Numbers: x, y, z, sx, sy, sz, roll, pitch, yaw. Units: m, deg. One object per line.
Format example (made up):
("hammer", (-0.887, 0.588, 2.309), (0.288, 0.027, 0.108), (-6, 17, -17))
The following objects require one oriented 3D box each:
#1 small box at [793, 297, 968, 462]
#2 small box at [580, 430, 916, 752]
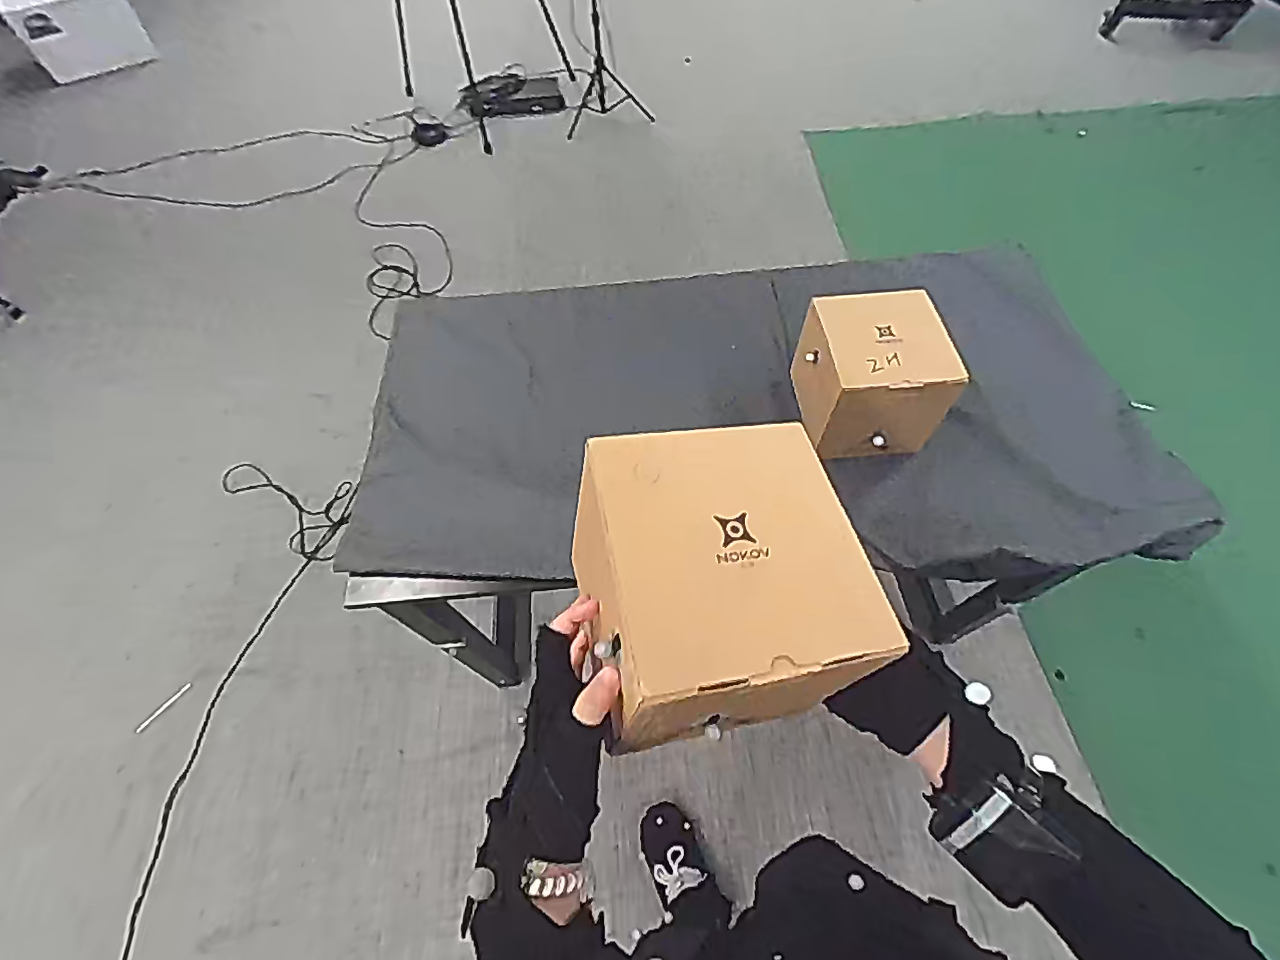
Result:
("small box", (0.339, -0.146, 0.806), (0.168, 0.176, 0.179), (-4, 59, 0))
("small box", (0.053, 0.084, 0.406), (0.168, 0.176, 0.179), (-5, 57, -16))
